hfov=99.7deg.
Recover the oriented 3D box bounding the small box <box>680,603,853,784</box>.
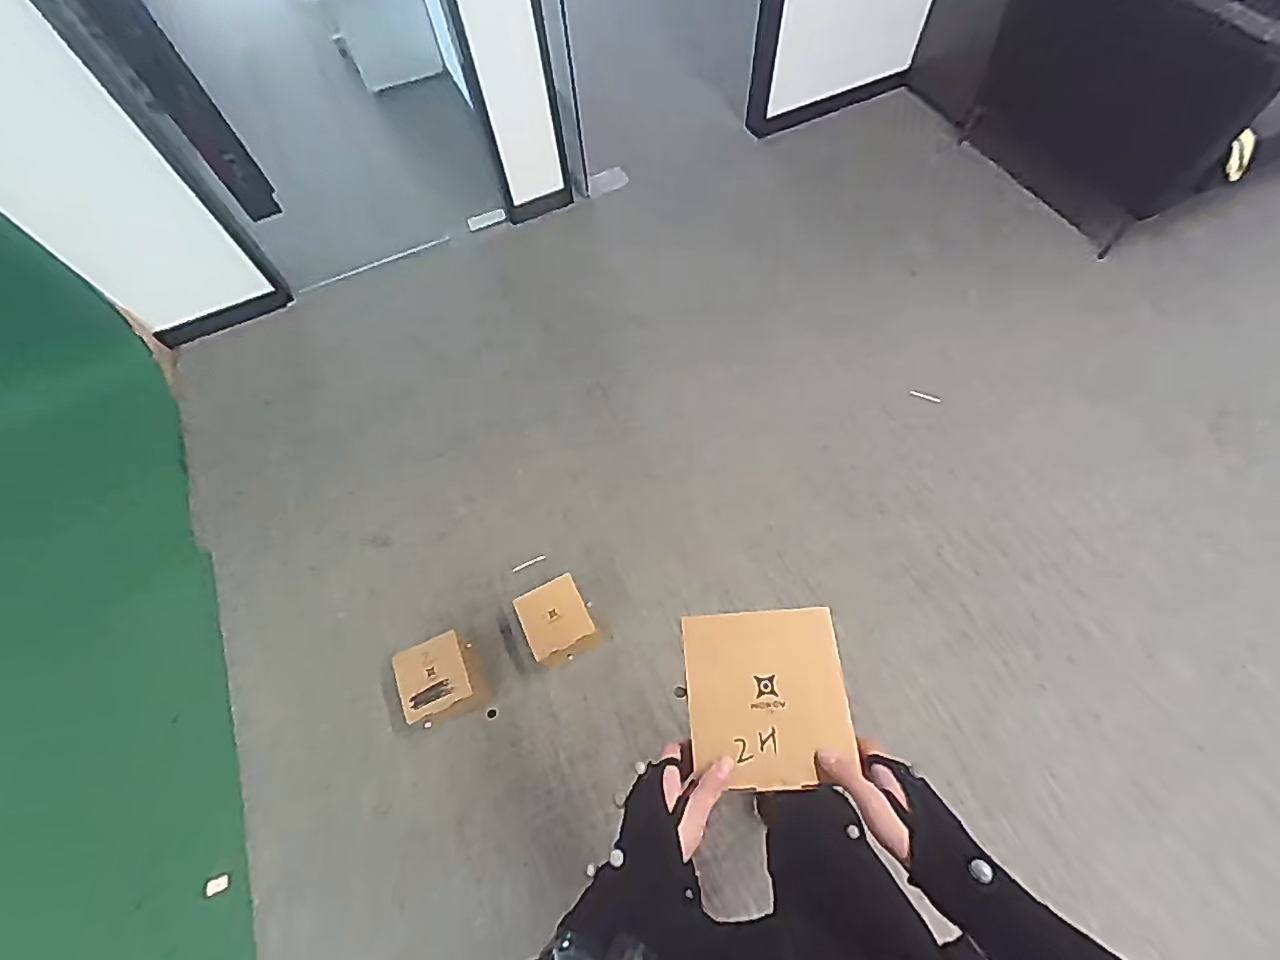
[{"bbox_3d":[0.136,0.255,0.646,0.168,0.176,0.179,-5,66,6],"label":"small box"}]

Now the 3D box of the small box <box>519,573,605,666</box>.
[{"bbox_3d":[-0.207,0.382,1.466,0.168,0.176,0.179,-26,66,-9],"label":"small box"}]
